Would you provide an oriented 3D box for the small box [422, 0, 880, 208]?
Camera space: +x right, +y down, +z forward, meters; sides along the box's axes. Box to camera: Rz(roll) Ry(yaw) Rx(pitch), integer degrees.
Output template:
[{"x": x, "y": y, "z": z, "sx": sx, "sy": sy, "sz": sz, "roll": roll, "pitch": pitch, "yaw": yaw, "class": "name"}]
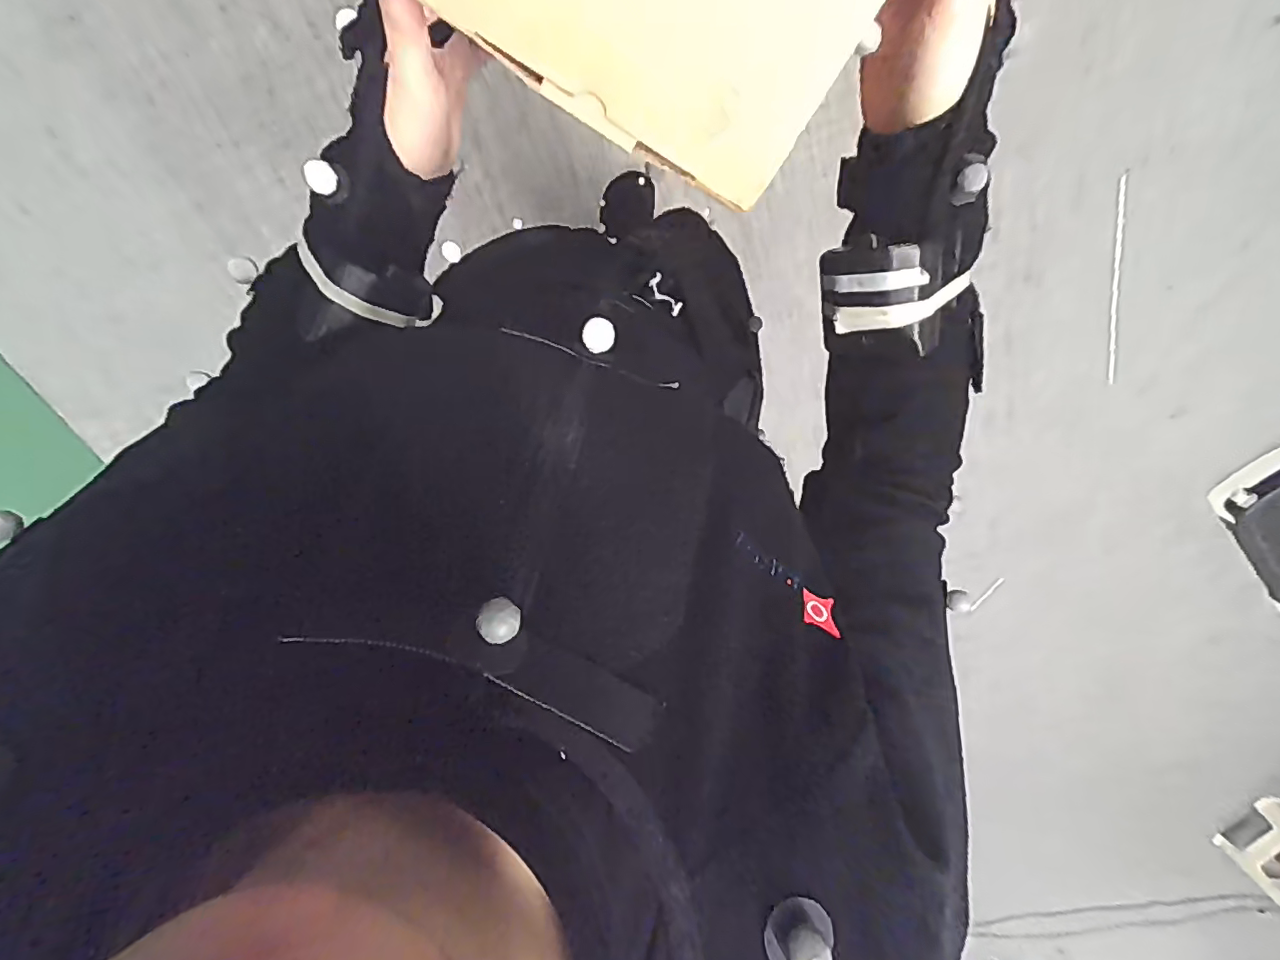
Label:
[{"x": 0.025, "y": -0.261, "z": 0.243, "sx": 0.168, "sy": 0.176, "sz": 0.179, "roll": 25, "pitch": 123, "yaw": -14, "class": "small box"}]
